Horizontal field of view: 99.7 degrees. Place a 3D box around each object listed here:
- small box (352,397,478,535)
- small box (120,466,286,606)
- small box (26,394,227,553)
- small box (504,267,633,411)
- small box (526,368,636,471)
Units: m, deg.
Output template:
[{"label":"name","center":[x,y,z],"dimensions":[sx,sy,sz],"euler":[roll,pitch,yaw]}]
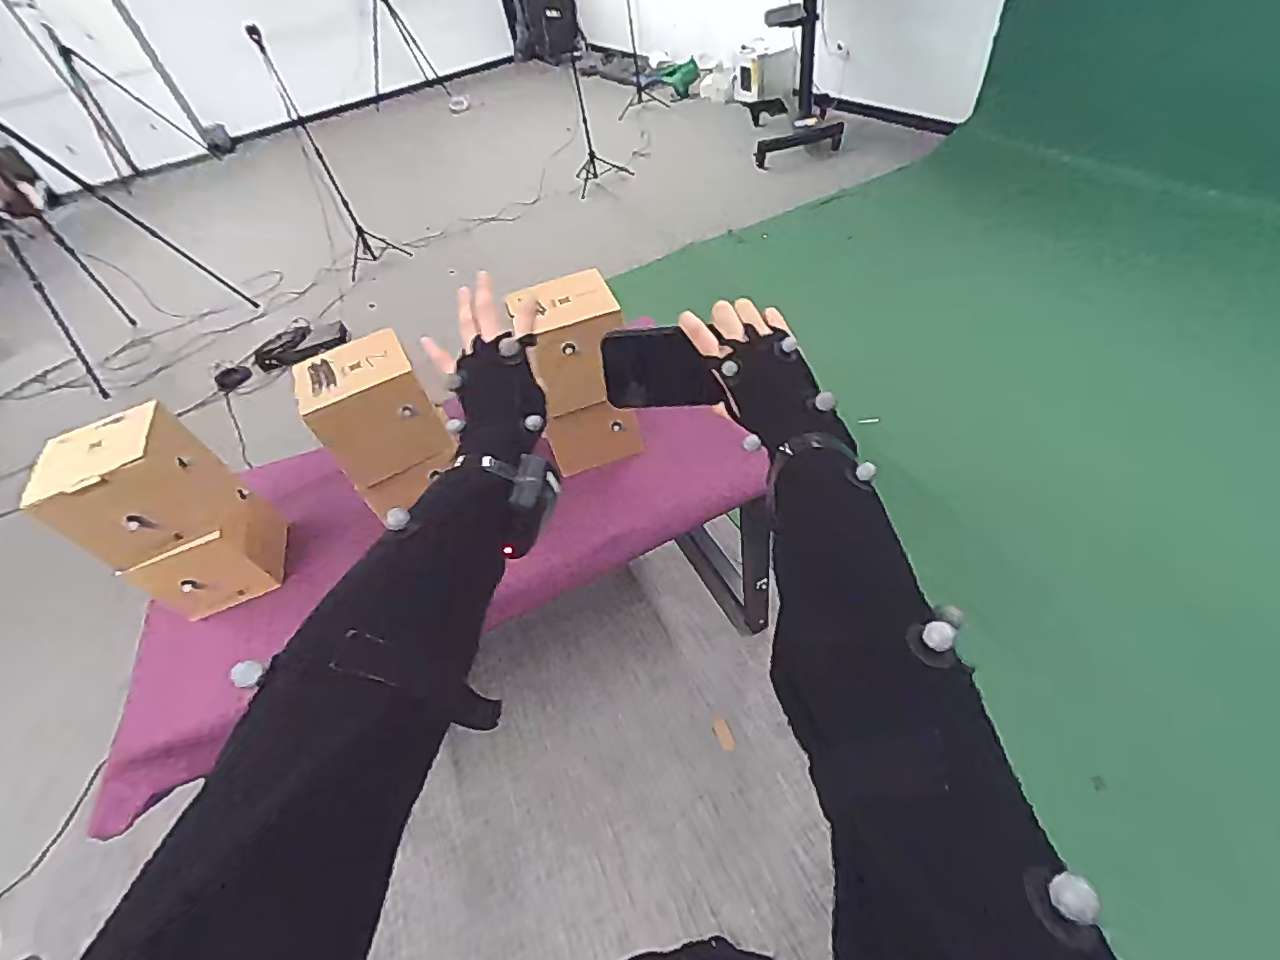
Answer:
[{"label":"small box","center":[-0.429,-0.026,1.051],"dimensions":[0.179,0.176,0.168],"euler":[-23,48,-9]},{"label":"small box","center":[-0.793,0.111,1.005],"dimensions":[0.168,0.176,0.179],"euler":[-22,48,-8]},{"label":"small box","center":[-0.821,-0.003,0.890],"dimensions":[0.168,0.176,0.179],"euler":[-26,49,-12]},{"label":"small box","center":[-0.125,-0.248,0.967],"dimensions":[0.179,0.176,0.168],"euler":[-18,47,-5]},{"label":"small box","center":[-0.113,-0.146,1.095],"dimensions":[0.179,0.176,0.168],"euler":[-19,47,-4]}]
